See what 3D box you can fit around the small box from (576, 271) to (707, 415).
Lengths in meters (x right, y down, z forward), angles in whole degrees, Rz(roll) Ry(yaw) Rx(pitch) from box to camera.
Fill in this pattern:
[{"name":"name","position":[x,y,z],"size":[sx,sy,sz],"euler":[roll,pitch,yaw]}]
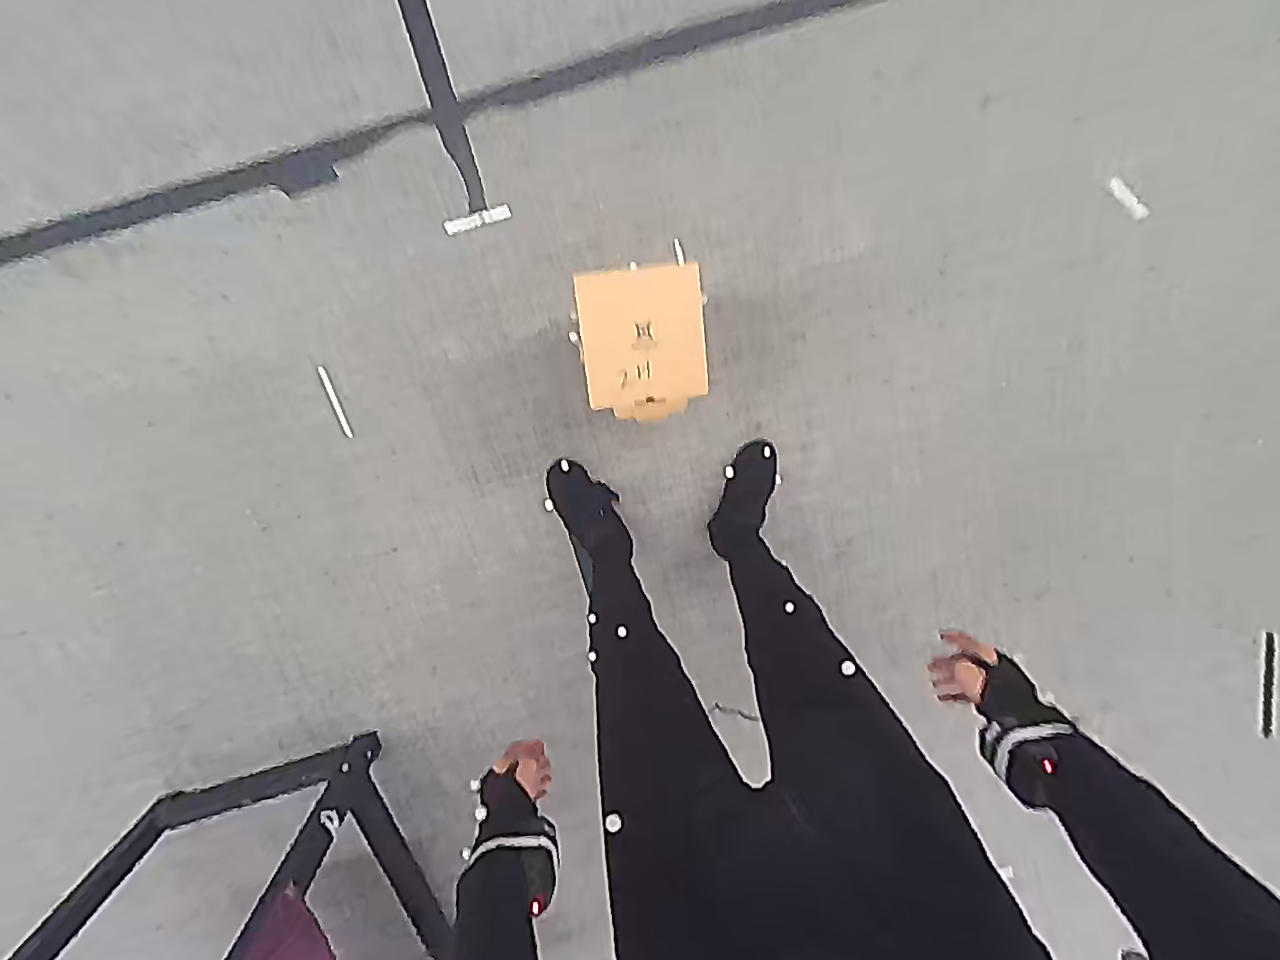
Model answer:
[{"name":"small box","position":[-0.004,-0.199,0.798],"size":[0.168,0.176,0.179],"euler":[-7,105,-4]}]
